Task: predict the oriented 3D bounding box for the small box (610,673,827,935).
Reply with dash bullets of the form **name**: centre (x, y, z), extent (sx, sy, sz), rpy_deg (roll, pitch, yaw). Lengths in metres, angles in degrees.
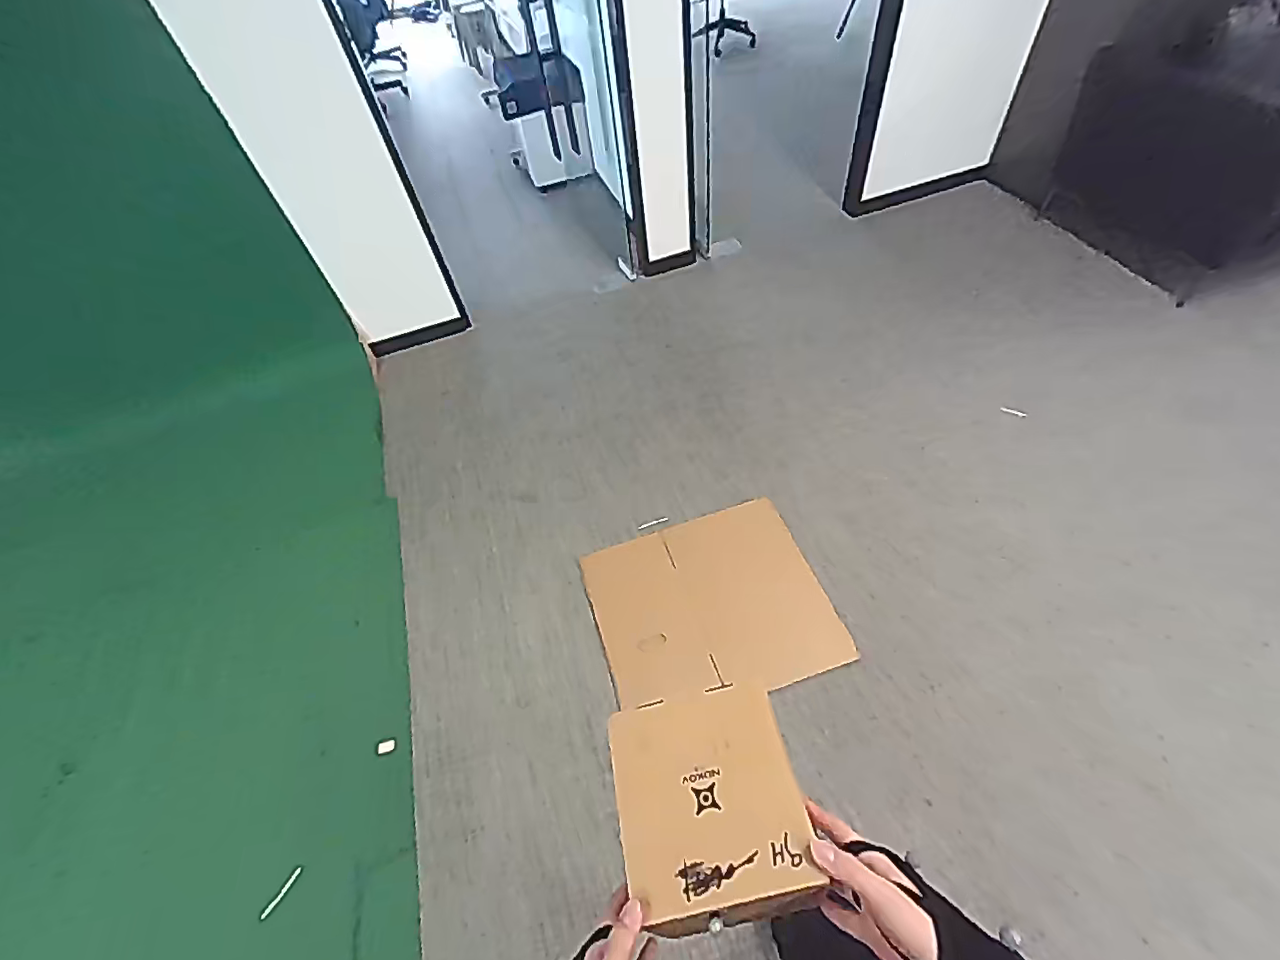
- **small box**: centre (0.075, 0.329, 0.549), extent (0.168, 0.176, 0.179), rpy_deg (-16, 45, 3)
